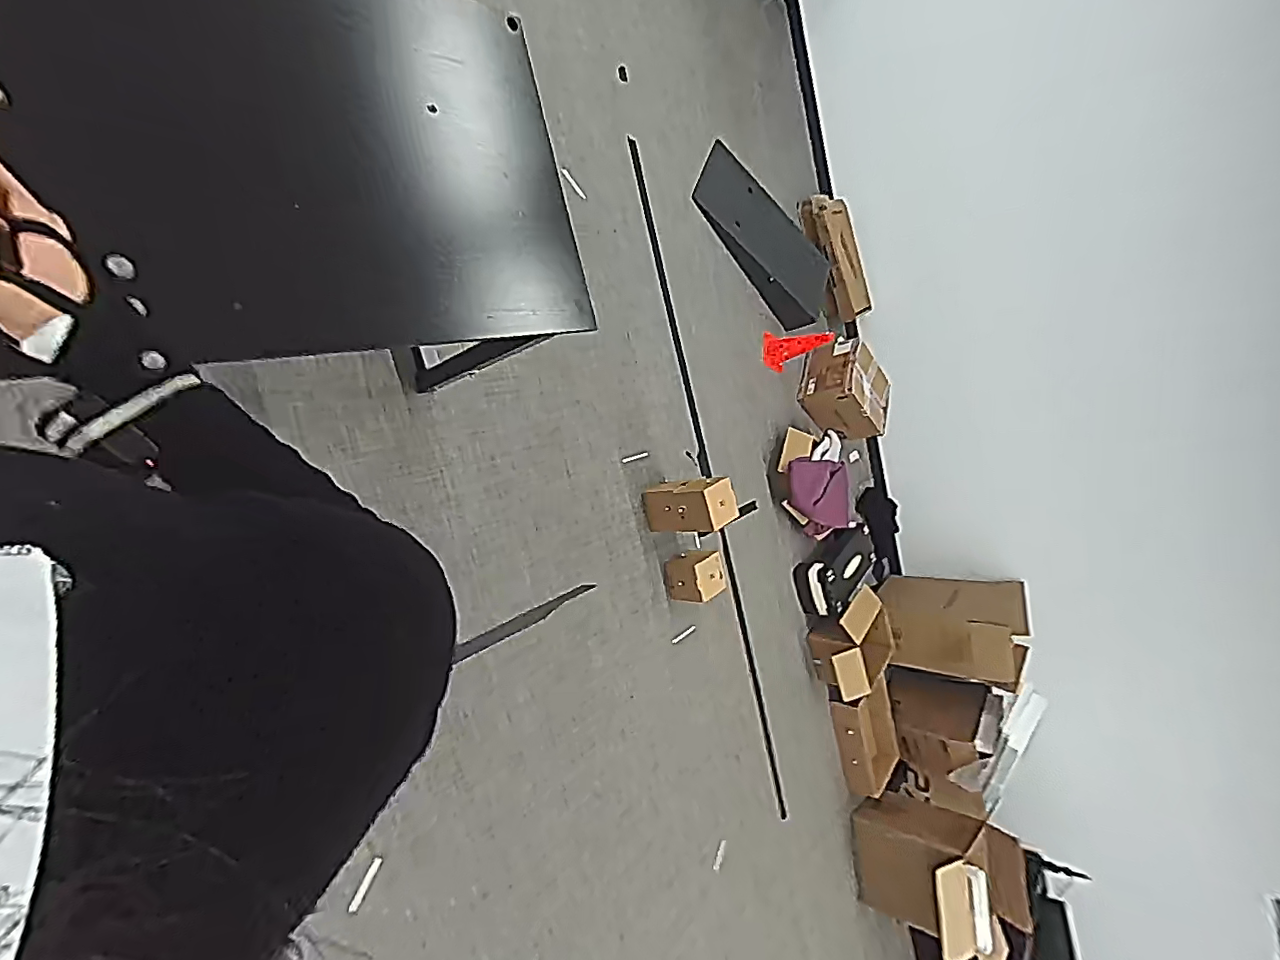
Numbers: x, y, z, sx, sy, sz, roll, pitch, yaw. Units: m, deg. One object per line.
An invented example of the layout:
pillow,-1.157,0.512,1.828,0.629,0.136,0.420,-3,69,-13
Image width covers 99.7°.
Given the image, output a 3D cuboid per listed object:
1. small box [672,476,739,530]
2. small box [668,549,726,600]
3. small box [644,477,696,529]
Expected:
small box,0.253,0.090,2.105,0.179,0.176,0.168,-25,102,-43
small box,0.234,0.398,2.286,0.179,0.176,0.168,-20,100,-44
small box,0.139,0.098,2.220,0.168,0.176,0.179,-23,102,-44
